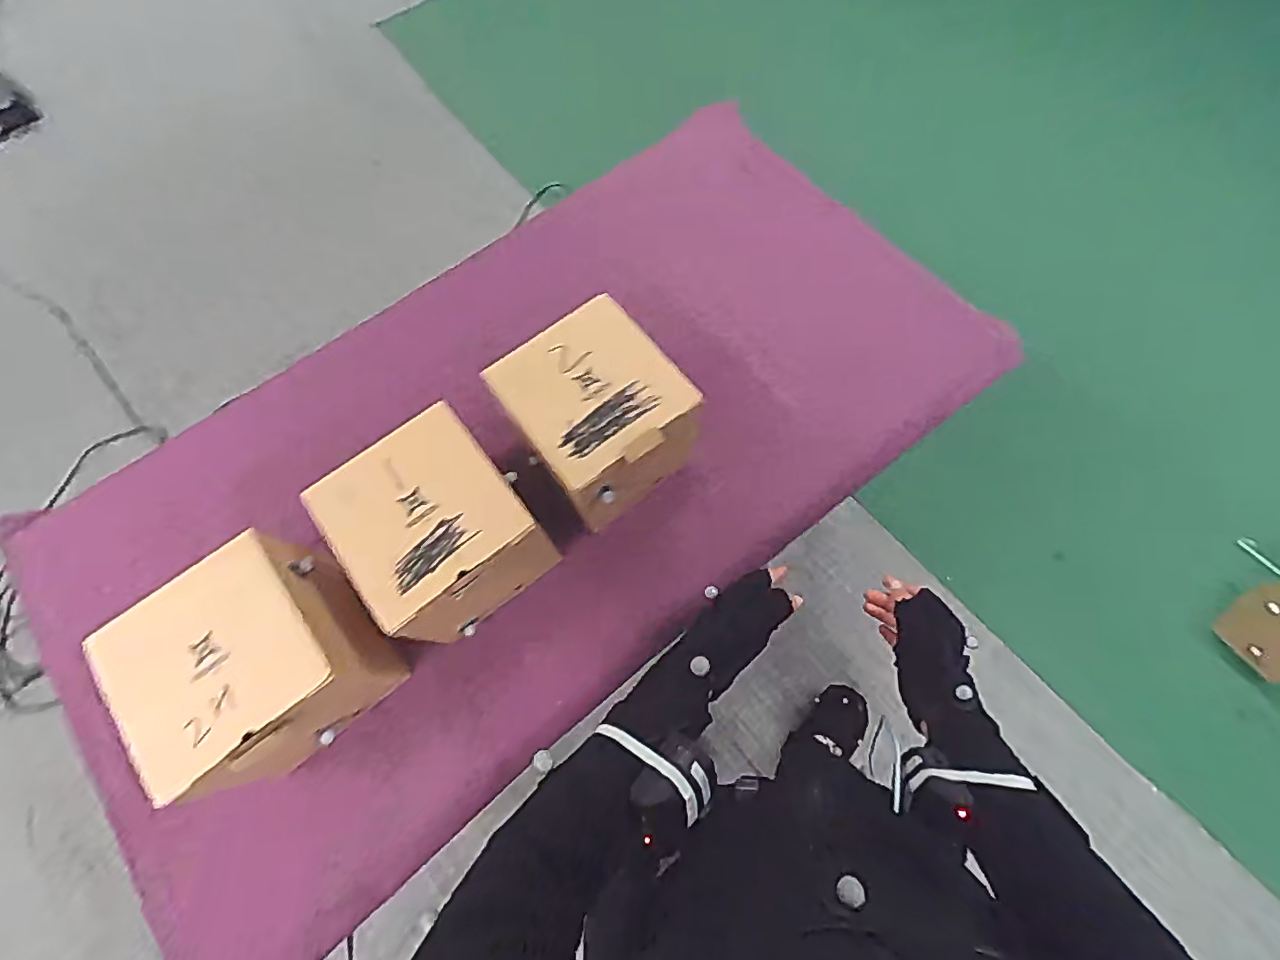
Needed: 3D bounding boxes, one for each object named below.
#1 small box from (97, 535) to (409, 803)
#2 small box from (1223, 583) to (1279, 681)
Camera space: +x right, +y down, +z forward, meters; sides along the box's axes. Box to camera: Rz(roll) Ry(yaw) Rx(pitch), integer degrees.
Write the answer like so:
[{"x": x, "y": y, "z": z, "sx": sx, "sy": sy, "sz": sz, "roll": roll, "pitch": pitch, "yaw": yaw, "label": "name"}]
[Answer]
[{"x": -0.381, "y": 0.190, "z": 0.564, "sx": 0.168, "sy": 0.176, "sz": 0.179, "roll": -38, "pitch": 74, "yaw": -11, "label": "small box"}, {"x": 1.509, "y": 0.339, "z": 1.224, "sx": 0.179, "sy": 0.176, "sz": 0.168, "roll": -37, "pitch": 74, "yaw": -10, "label": "small box"}]
